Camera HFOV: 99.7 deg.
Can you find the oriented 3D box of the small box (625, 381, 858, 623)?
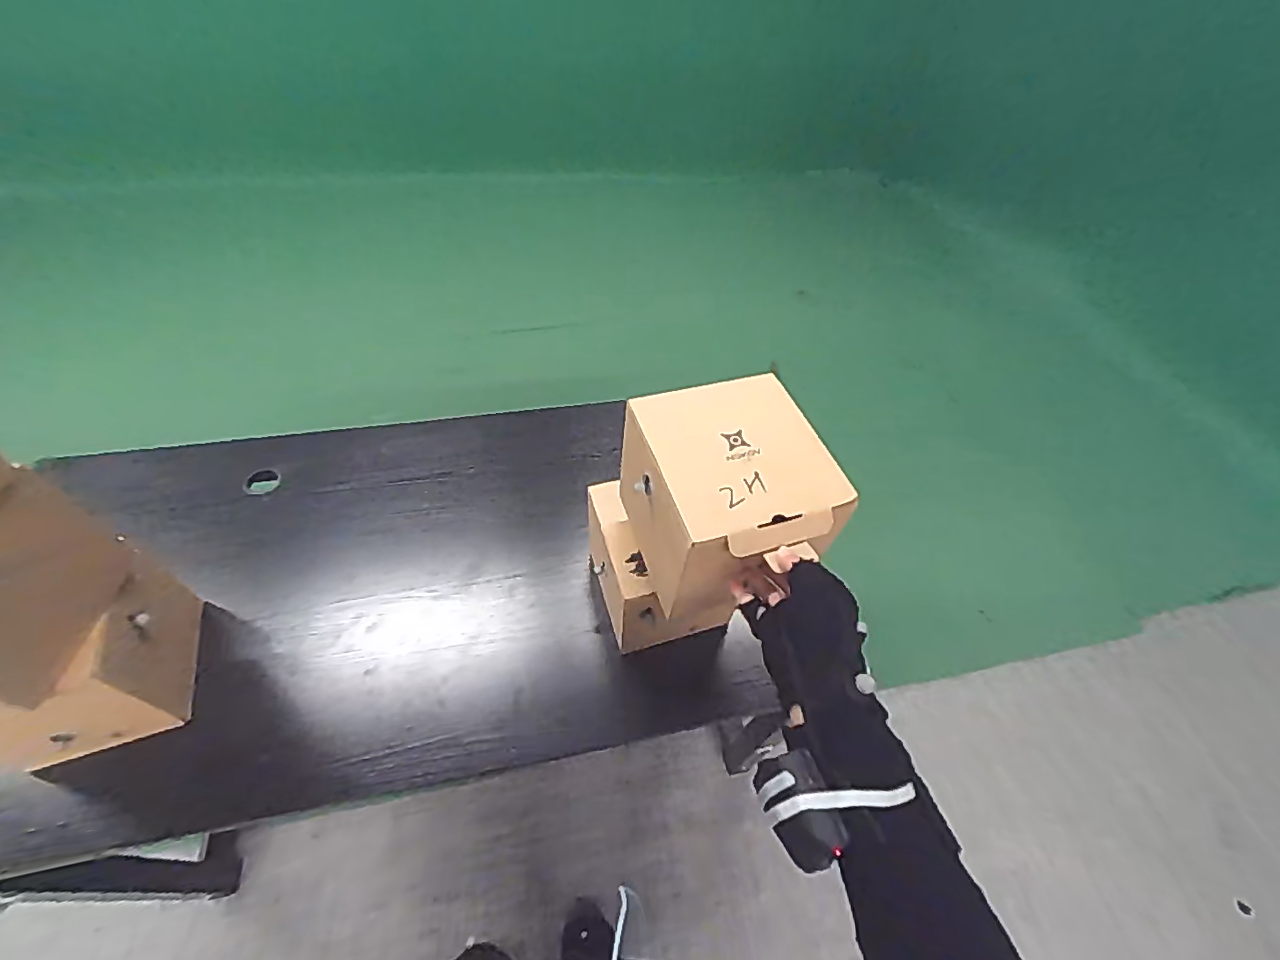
[{"bbox_3d":[0.087,0.024,0.575,0.168,0.176,0.179,-13,56,-15],"label":"small box"}]

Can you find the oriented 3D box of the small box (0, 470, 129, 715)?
[{"bbox_3d":[-0.644,0.105,0.497,0.168,0.176,0.179,3,52,-3],"label":"small box"}]

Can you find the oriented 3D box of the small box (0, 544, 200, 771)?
[{"bbox_3d":[-0.651,0.206,0.626,0.168,0.176,0.179,-14,55,-16],"label":"small box"}]
